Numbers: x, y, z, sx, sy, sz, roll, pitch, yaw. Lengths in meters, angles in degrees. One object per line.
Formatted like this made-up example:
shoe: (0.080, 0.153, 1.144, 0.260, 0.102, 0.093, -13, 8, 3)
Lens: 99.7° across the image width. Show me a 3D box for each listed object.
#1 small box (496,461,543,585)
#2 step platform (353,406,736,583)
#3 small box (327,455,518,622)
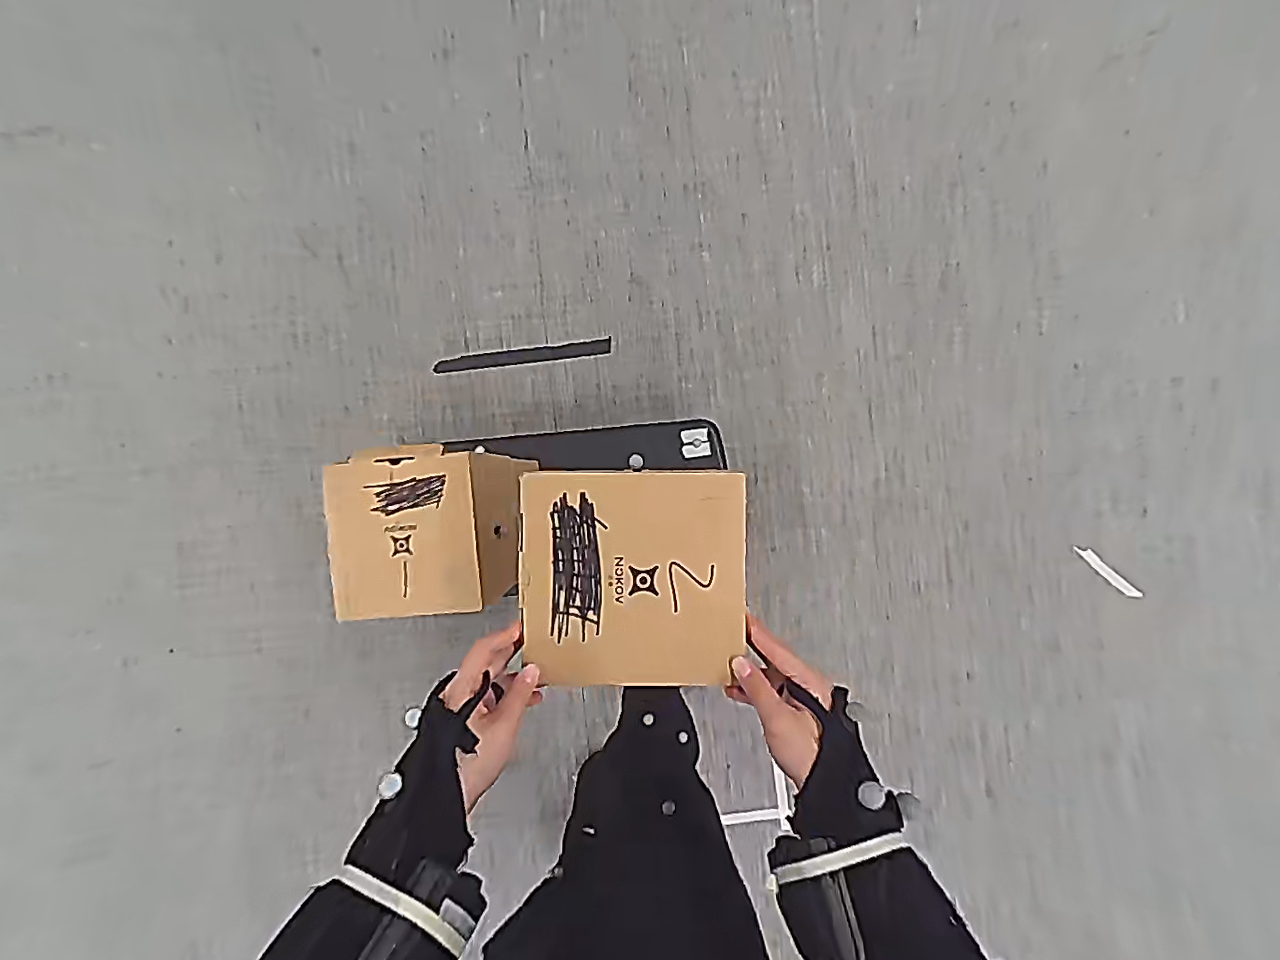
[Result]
small box: (-0.250, 0.064, 0.835, 0.168, 0.176, 0.179, -4, 91, 2)
step platform: (-0.166, 0.036, 1.007, 0.684, 0.204, 0.286, -6, 90, 2)
small box: (-0.255, 0.064, 0.671, 0.168, 0.176, 0.179, -4, 91, 1)
